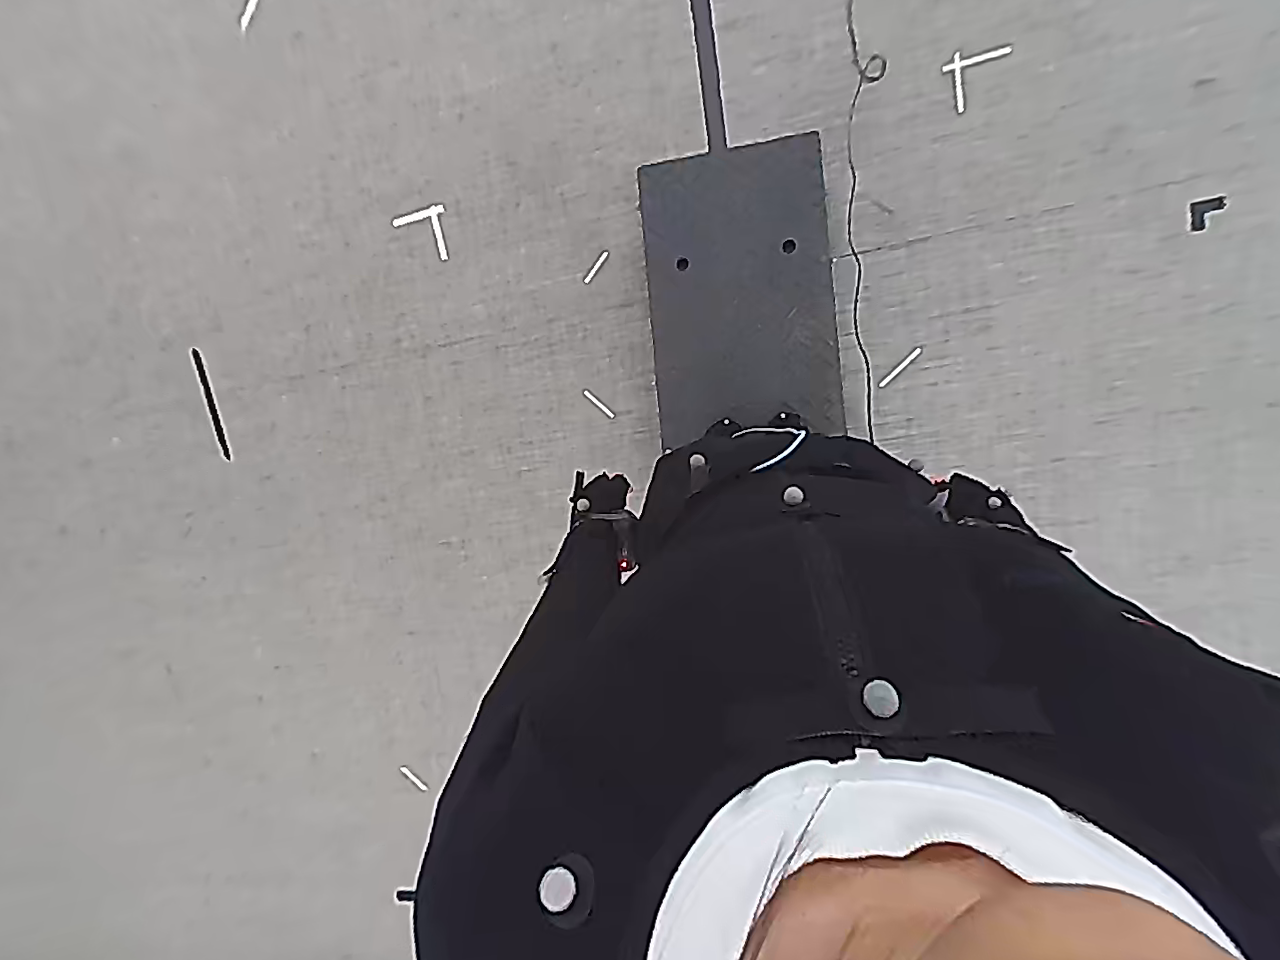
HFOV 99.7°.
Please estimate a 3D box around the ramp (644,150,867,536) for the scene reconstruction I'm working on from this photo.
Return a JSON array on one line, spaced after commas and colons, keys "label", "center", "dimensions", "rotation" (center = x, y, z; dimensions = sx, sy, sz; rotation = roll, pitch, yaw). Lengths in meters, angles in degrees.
[{"label": "ramp", "center": [0.296, -0.364, 1.475], "dimensions": [0.509, 0.206, 0.991], "rotation": [-8, 97, 13]}]
